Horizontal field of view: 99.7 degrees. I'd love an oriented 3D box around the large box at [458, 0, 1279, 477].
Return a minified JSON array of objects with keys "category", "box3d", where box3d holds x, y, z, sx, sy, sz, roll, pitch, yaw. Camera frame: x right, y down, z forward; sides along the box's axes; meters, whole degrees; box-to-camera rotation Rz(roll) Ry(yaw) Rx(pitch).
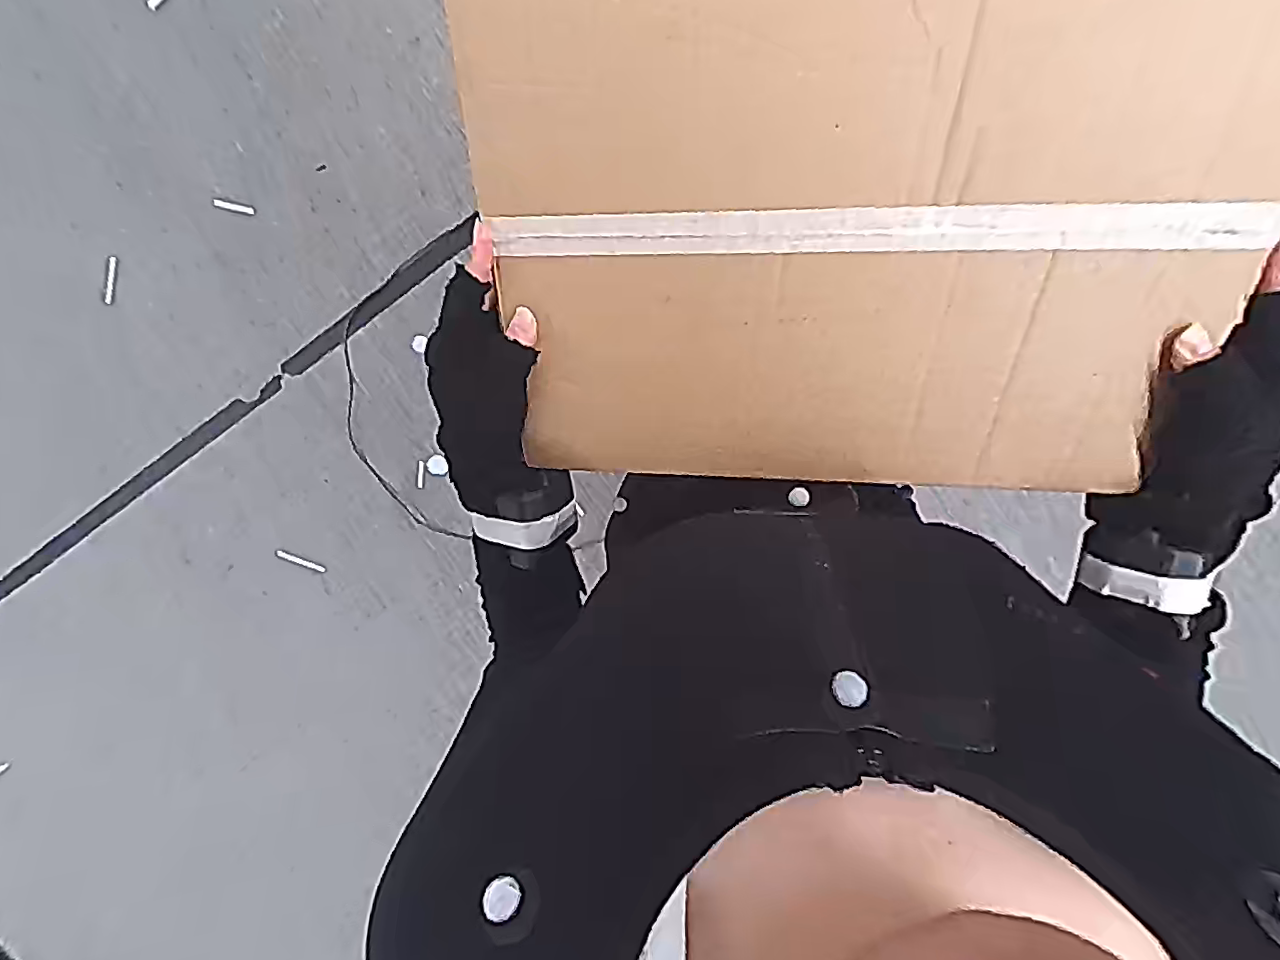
[{"category":"large box","box3d":[0.127,-0.216,0.420,0.408,0.320,0.320,3,123,7]}]
